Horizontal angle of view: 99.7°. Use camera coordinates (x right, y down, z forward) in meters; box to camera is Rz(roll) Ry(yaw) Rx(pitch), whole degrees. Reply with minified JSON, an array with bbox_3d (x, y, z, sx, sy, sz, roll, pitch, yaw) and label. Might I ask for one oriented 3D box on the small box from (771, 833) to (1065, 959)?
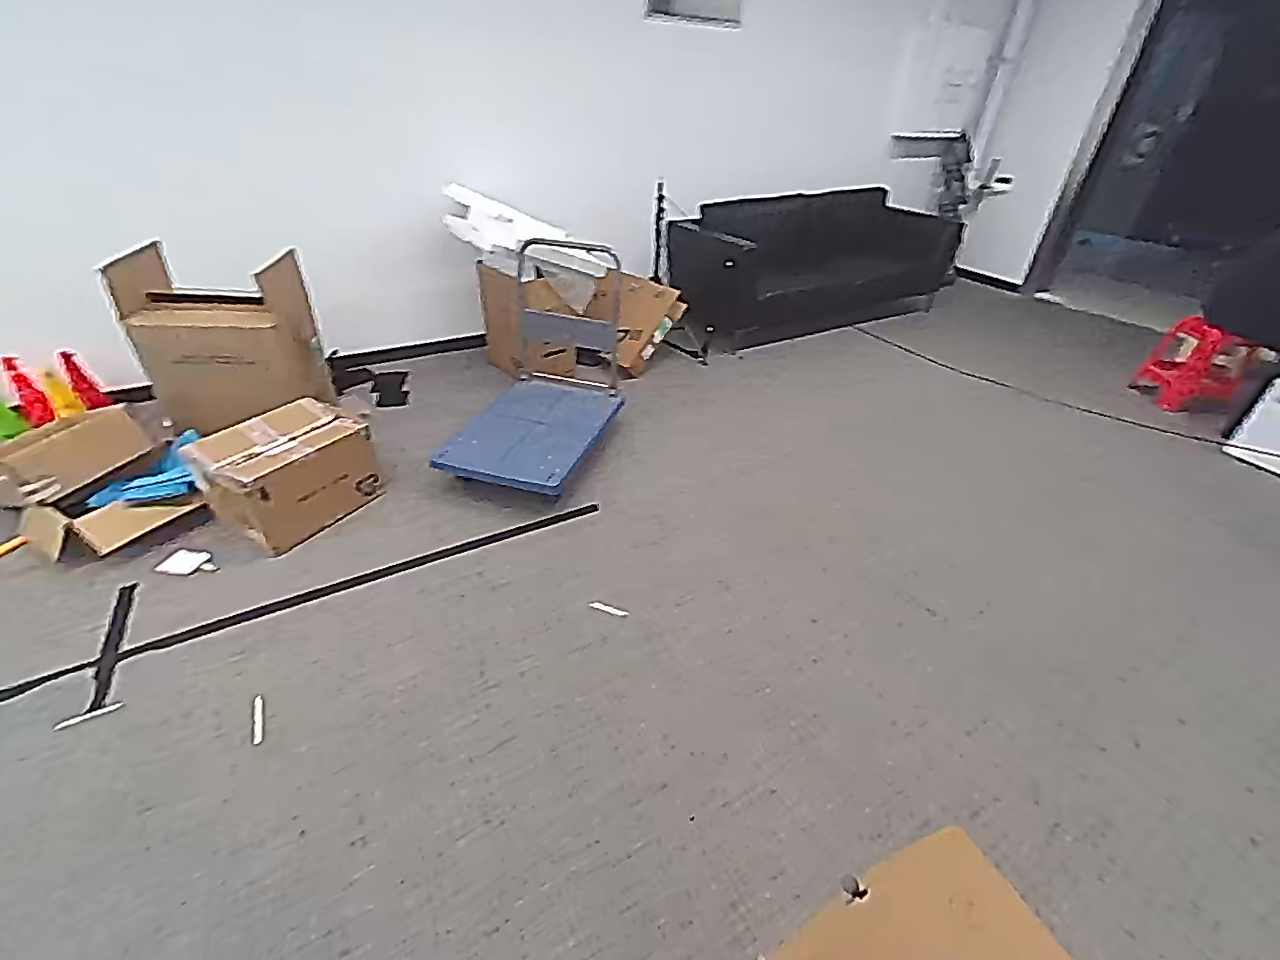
[{"bbox_3d":[0.178,0.374,0.346,0.179,0.176,0.168,-21,50,-23],"label":"small box"}]
